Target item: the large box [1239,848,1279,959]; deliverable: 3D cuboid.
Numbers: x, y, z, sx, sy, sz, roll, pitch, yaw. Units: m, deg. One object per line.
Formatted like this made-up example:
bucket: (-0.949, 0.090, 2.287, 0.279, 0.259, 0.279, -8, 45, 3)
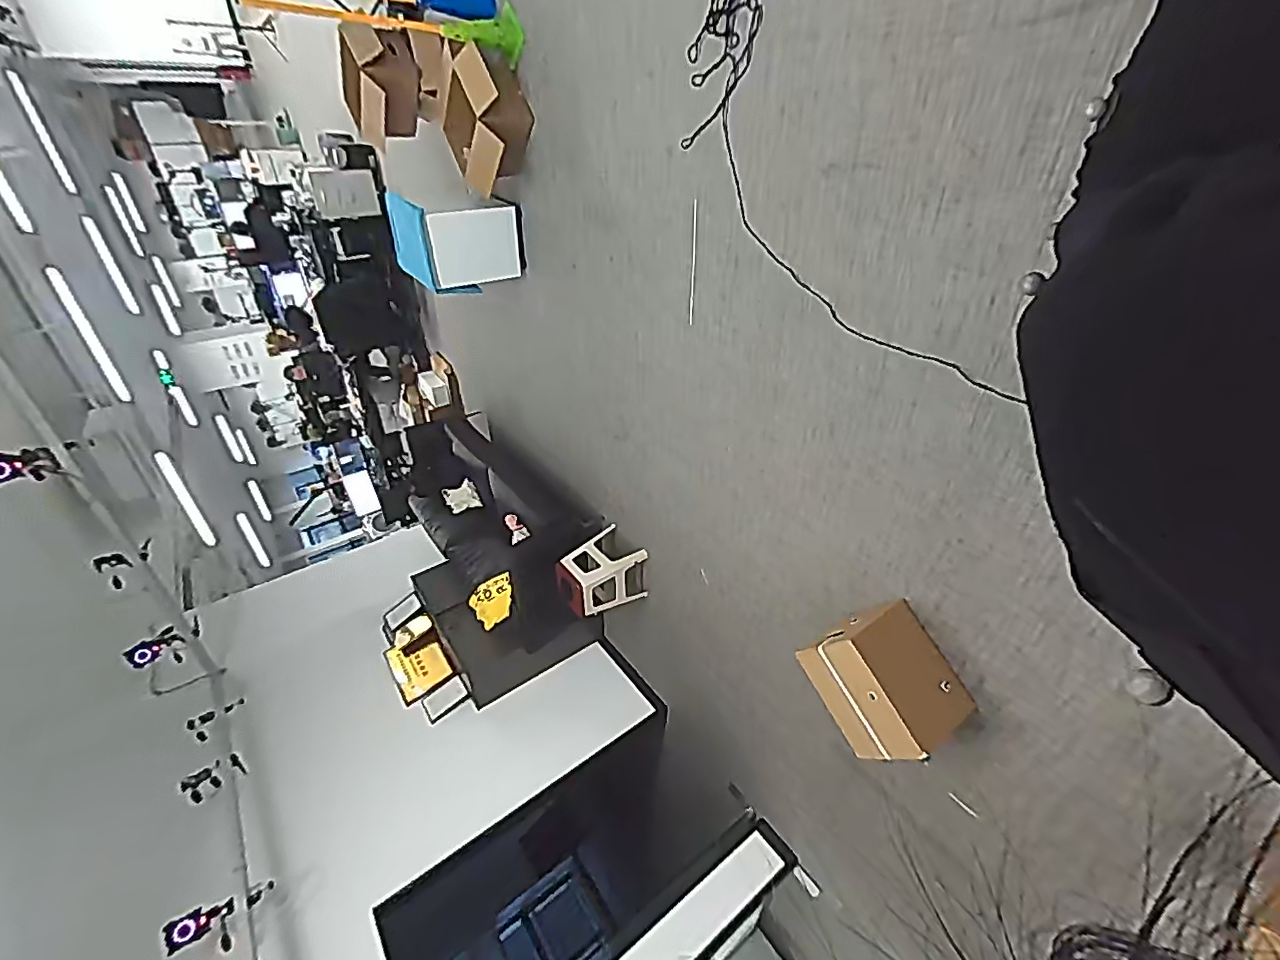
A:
large box: (1.484, 1.034, 1.048, 0.408, 0.320, 0.320, 21, 127, 50)
